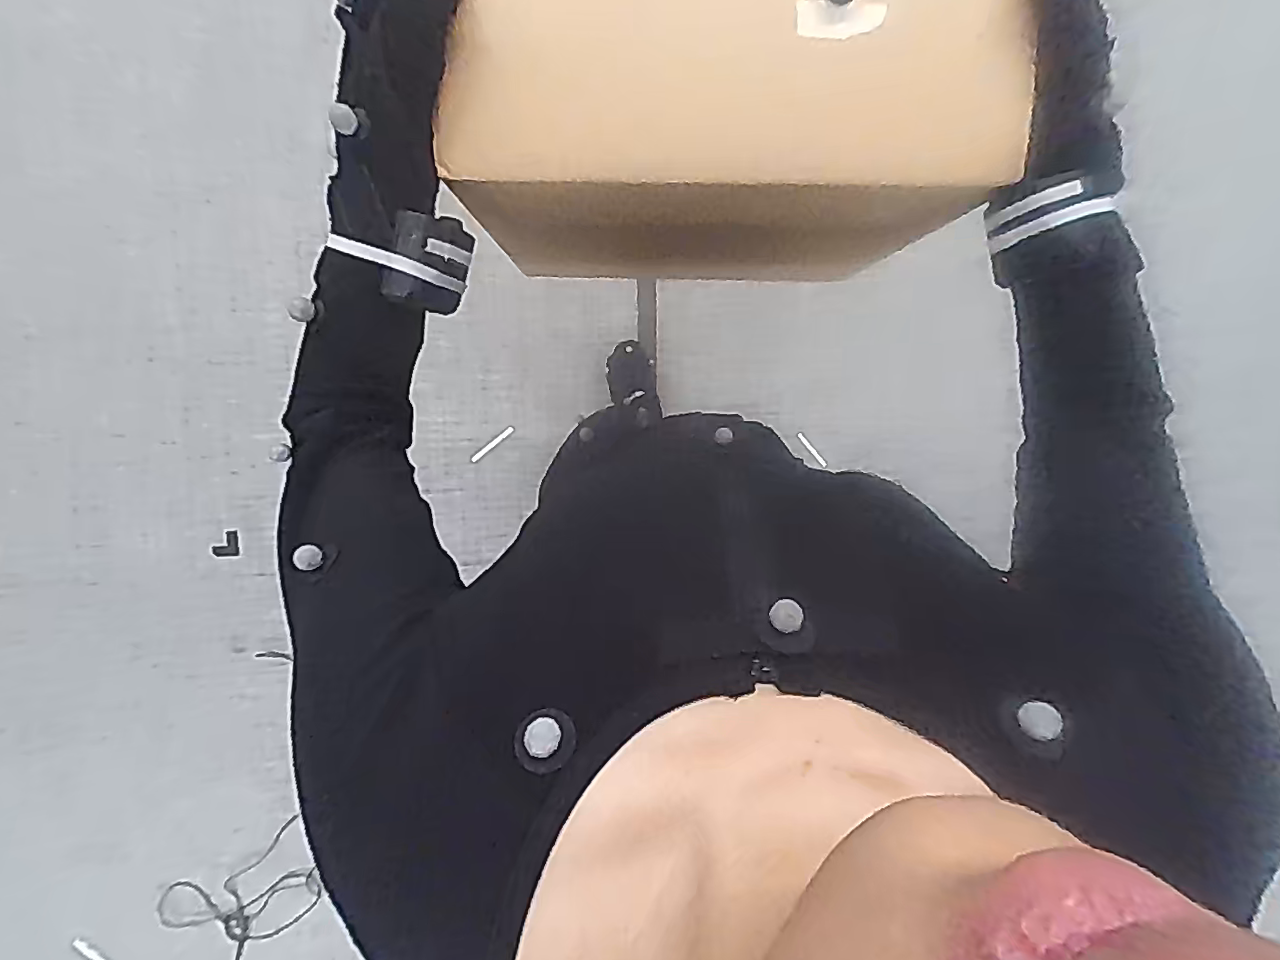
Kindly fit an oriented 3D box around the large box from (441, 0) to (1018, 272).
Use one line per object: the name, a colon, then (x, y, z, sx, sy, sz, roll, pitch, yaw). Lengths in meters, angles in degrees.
large box: (0.057, -0.394, 0.510, 0.408, 0.320, 0.320, 0, 99, -2)
